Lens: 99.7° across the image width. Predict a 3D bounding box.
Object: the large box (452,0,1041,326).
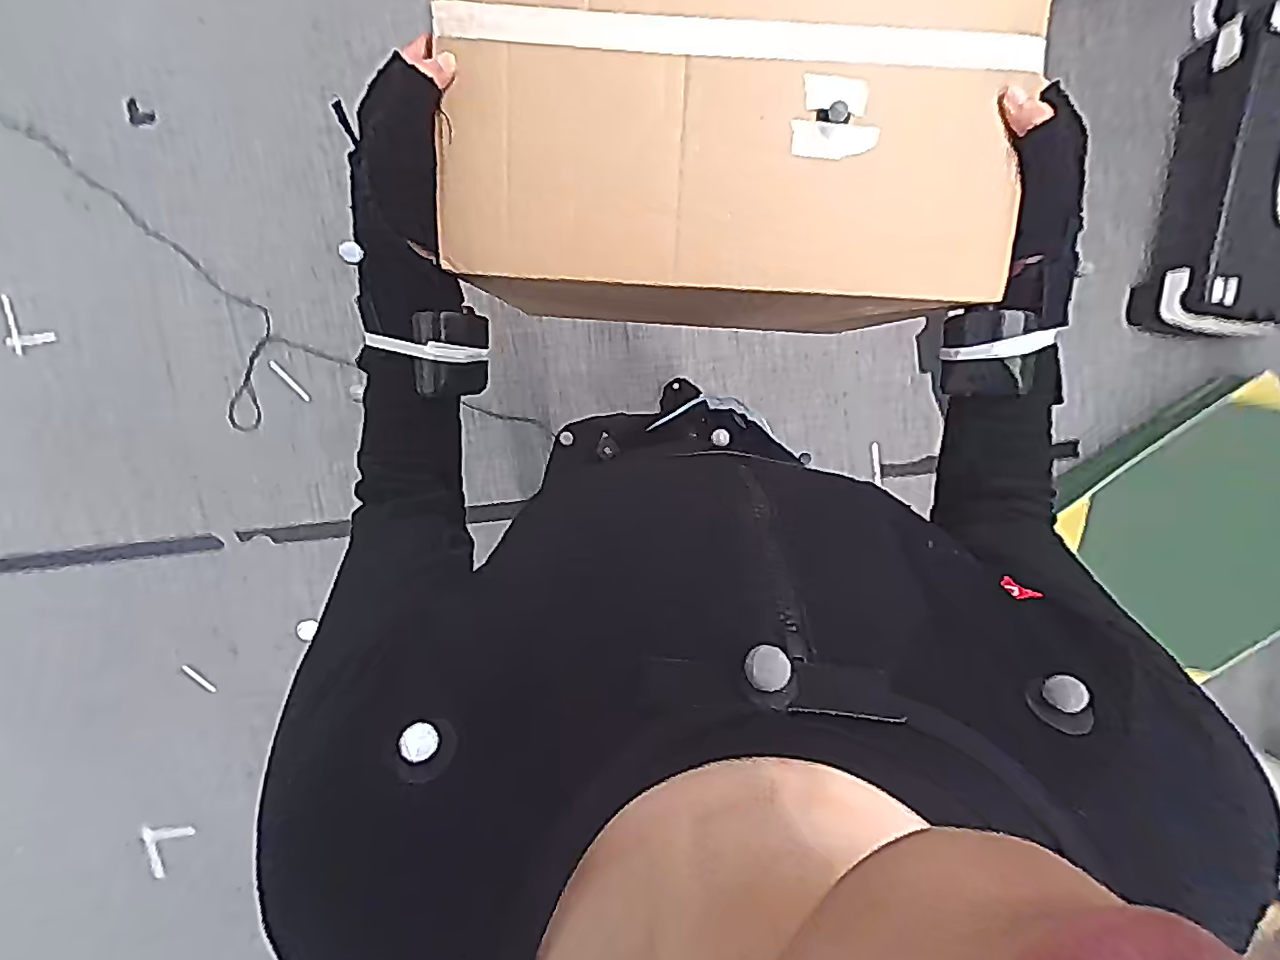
[{"bbox_3d":[0.066,-0.326,0.515,0.408,0.320,0.320,4,102,-2],"label":"large box"}]
